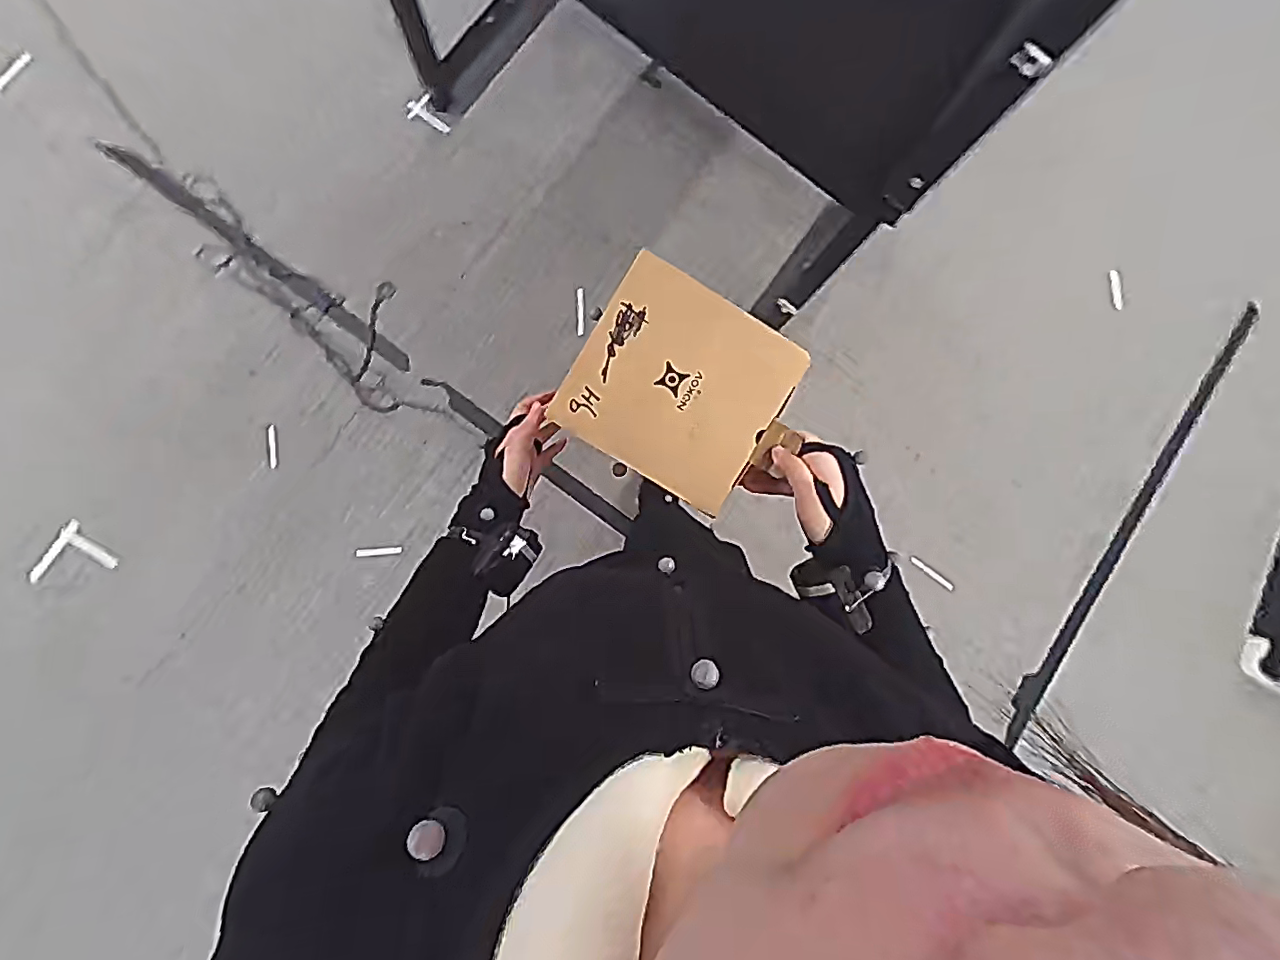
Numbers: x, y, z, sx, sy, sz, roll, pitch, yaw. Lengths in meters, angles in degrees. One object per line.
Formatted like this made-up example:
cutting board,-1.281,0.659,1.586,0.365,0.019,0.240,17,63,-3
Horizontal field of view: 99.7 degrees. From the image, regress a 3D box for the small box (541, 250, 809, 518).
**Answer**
small box,0.024,-0.085,0.532,0.179,0.176,0.168,30,91,-7
